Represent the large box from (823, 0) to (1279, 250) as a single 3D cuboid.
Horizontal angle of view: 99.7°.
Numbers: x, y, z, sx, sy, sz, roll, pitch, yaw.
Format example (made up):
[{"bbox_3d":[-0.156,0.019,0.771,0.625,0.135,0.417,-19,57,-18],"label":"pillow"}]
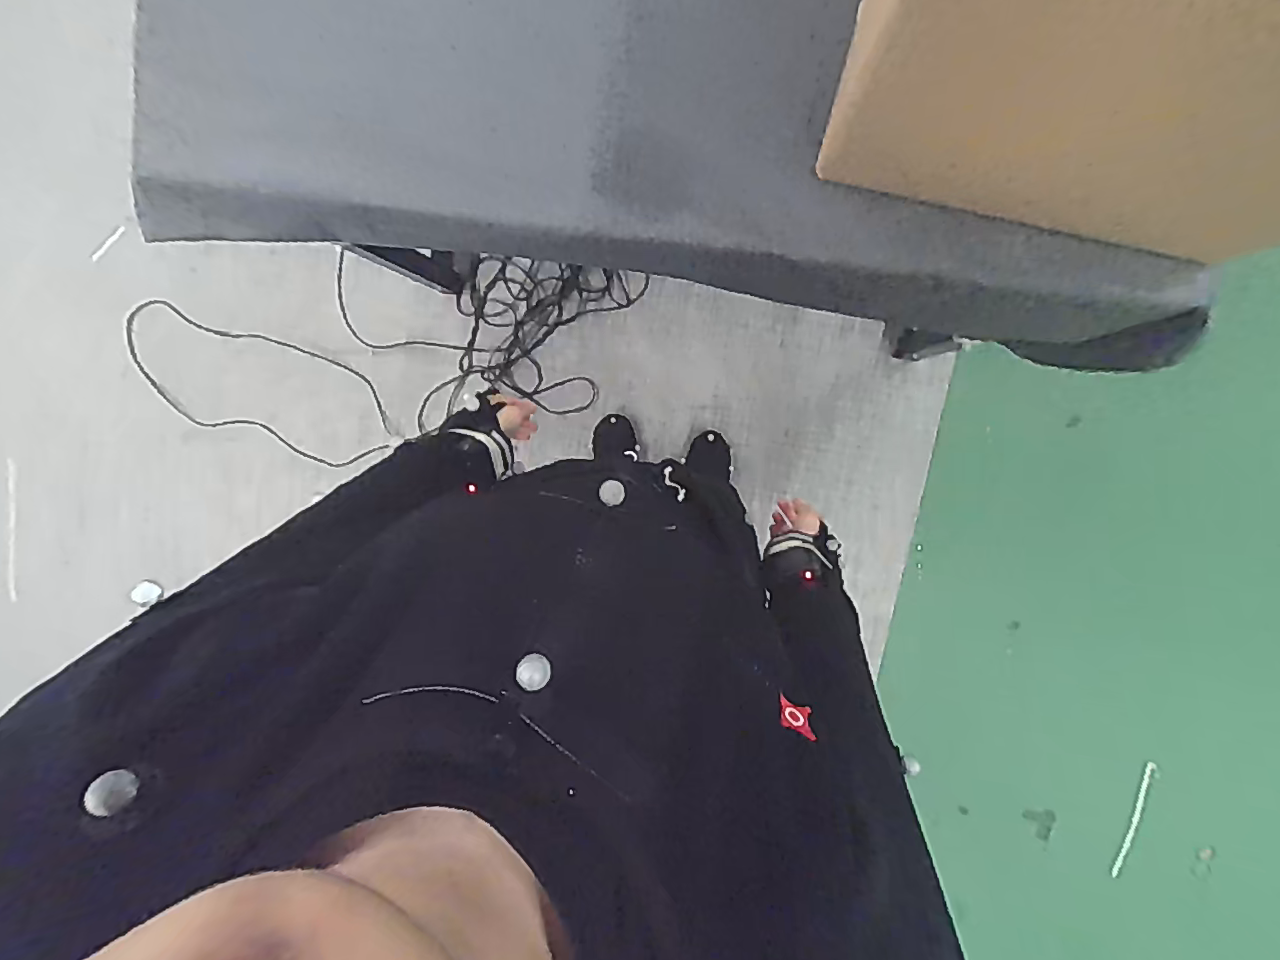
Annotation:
[{"bbox_3d":[0.396,-0.401,0.384,0.408,0.320,0.320,15,98,4],"label":"large box"}]
